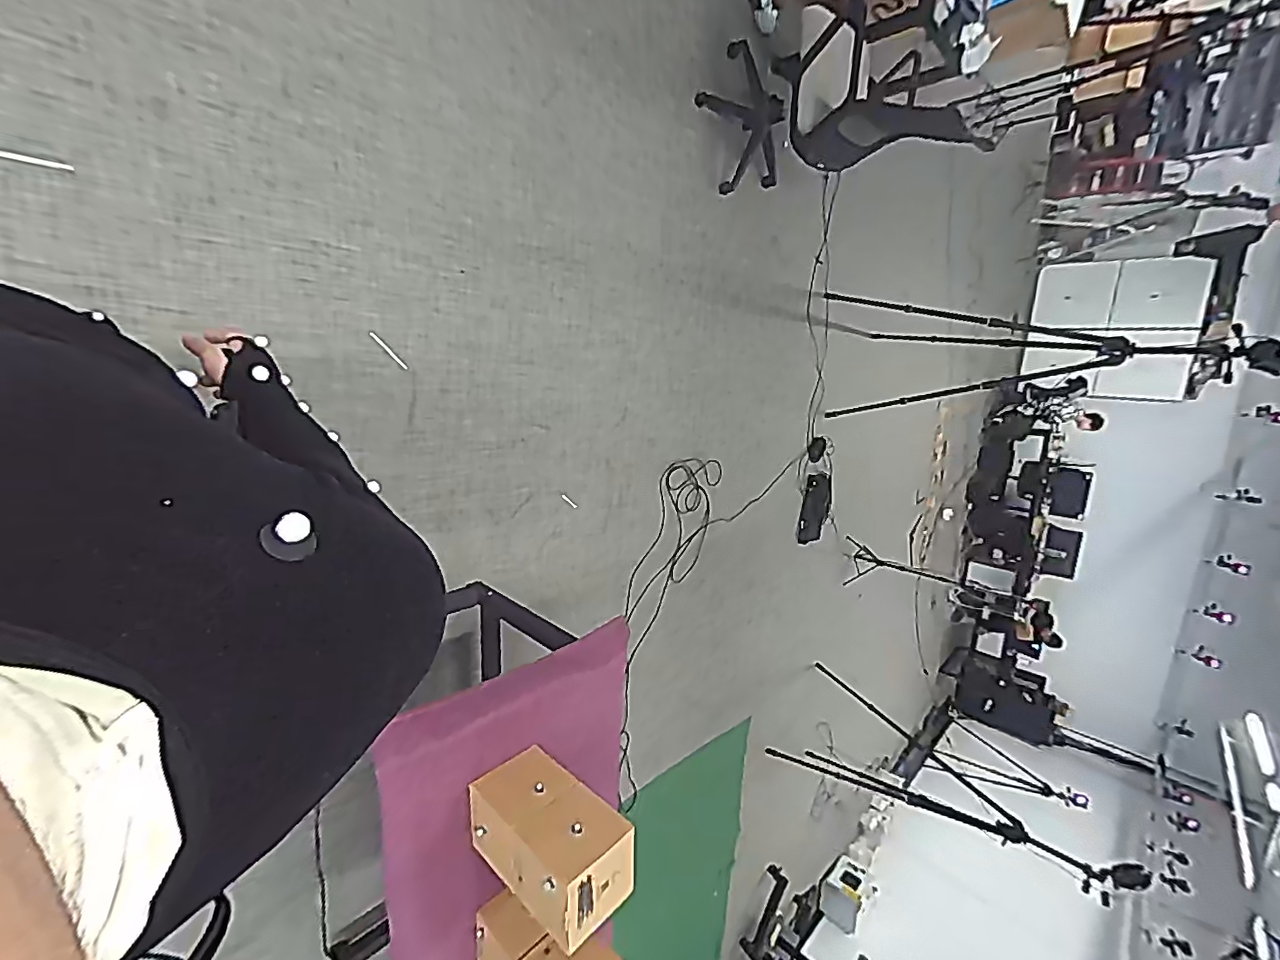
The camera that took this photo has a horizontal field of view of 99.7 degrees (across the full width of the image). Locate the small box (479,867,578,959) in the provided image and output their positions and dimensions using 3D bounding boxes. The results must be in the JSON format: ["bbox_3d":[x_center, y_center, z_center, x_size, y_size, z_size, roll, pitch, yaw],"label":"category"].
[{"bbox_3d":[-0.265,1.064,1.273,0.179,0.176,0.168,-11,108,-46],"label":"small box"}]

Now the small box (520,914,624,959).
[{"bbox_3d":[-0.150,1.092,1.161,0.168,0.176,0.179,-10,108,-44],"label":"small box"}]

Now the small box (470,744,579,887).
[{"bbox_3d":[-0.254,0.726,1.195,0.179,0.176,0.168,-12,109,-45],"label":"small box"}]
